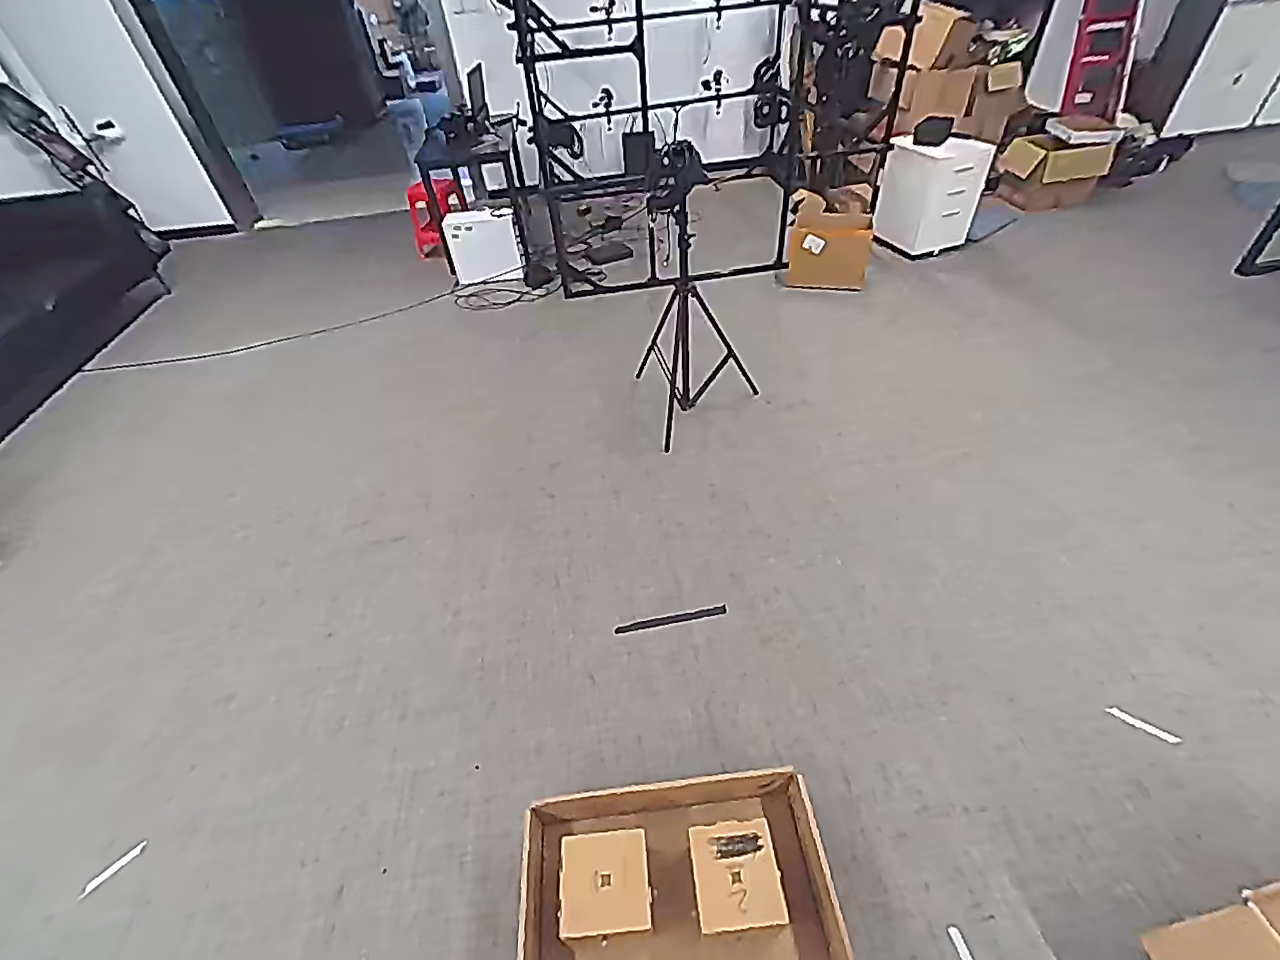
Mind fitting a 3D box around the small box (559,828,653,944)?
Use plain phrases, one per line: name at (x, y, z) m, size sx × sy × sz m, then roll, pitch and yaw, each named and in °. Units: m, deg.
small box at (-0.069, 0.852, 1.133) m, size 0.179 × 0.176 × 0.168 m, roll -5°, pitch 46°, yaw -2°
